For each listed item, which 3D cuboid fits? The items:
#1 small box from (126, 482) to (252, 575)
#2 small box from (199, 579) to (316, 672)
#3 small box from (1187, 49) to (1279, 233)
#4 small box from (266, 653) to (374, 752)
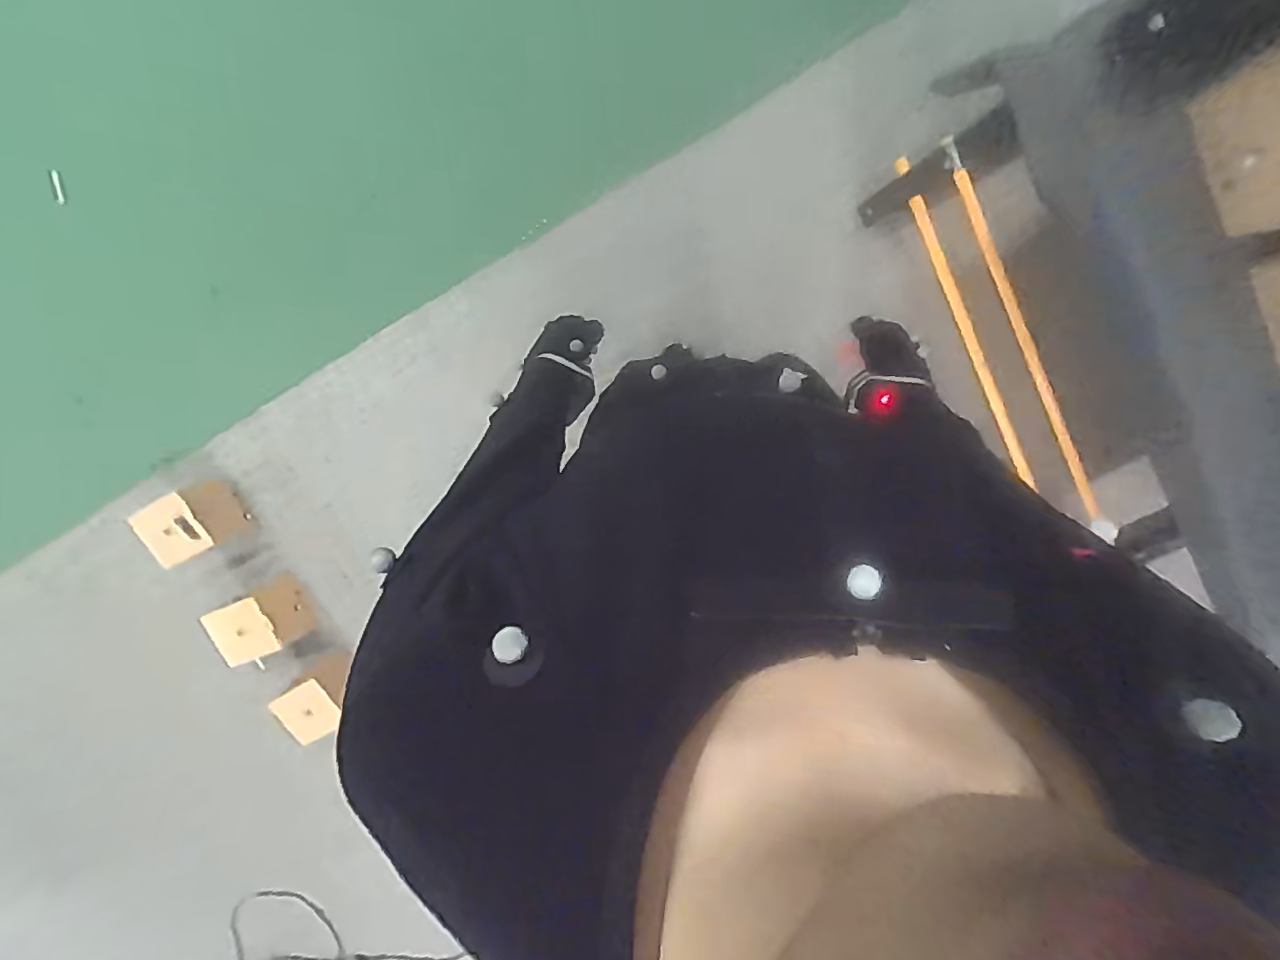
[{"bbox_3d":[-1.212,0.125,1.475,0.179,0.176,0.168,-26,101,8],"label":"small box"},{"bbox_3d":[-1.077,0.407,1.537,0.179,0.176,0.168,-22,102,6],"label":"small box"},{"bbox_3d":[0.726,-0.378,0.537,0.179,0.176,0.168,-30,101,8],"label":"small box"},{"bbox_3d":[-0.930,0.646,1.588,0.179,0.176,0.168,-31,102,7],"label":"small box"}]
